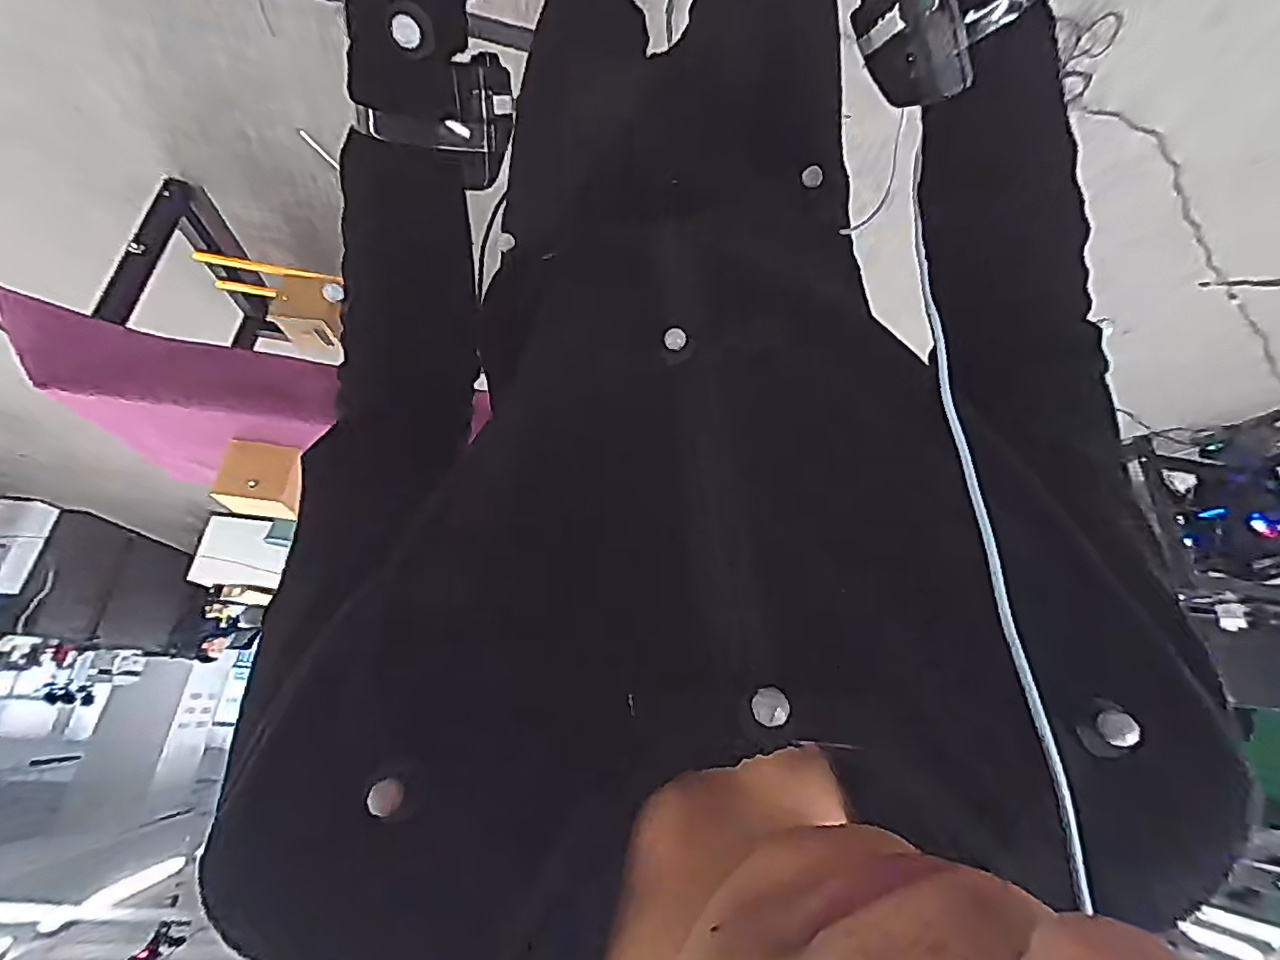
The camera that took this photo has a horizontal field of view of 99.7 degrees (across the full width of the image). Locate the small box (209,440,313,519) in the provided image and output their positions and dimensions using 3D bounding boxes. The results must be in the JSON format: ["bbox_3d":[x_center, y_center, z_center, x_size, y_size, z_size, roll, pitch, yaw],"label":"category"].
[{"bbox_3d":[-1.072,-0.002,1.544,0.179,0.176,0.168,8,157,-12],"label":"small box"}]
